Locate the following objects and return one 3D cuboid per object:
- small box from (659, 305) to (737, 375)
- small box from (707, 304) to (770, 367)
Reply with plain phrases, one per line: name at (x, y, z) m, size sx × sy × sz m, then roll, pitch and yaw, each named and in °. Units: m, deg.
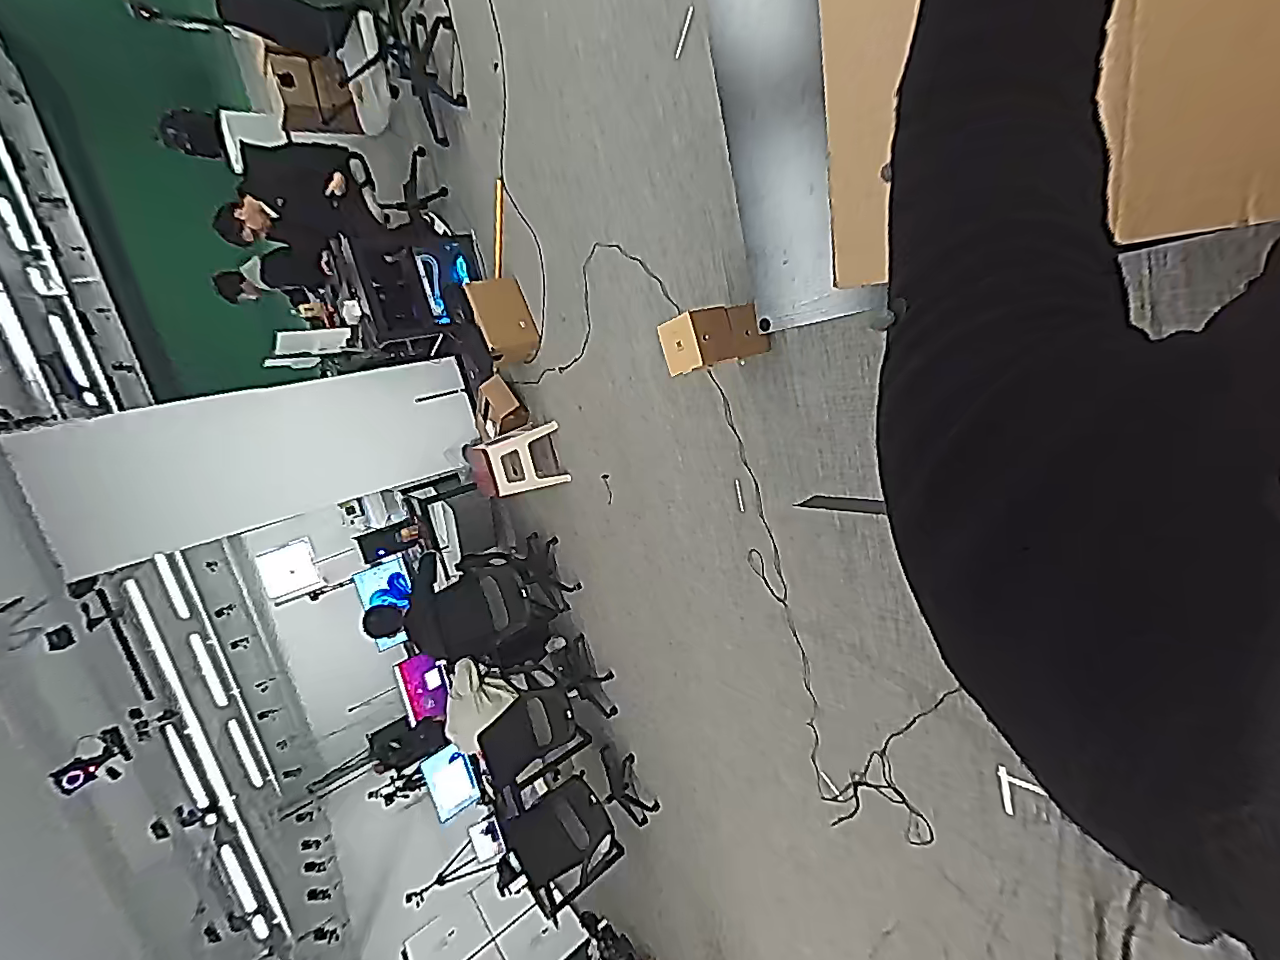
small box at (0.195, -0.461, 1.784) m, size 0.168 × 0.176 × 0.179 m, roll -7°, pitch 101°, yaw 55°
small box at (0.323, -0.504, 1.875) m, size 0.168 × 0.176 × 0.179 m, roll -3°, pitch 106°, yaw 55°
